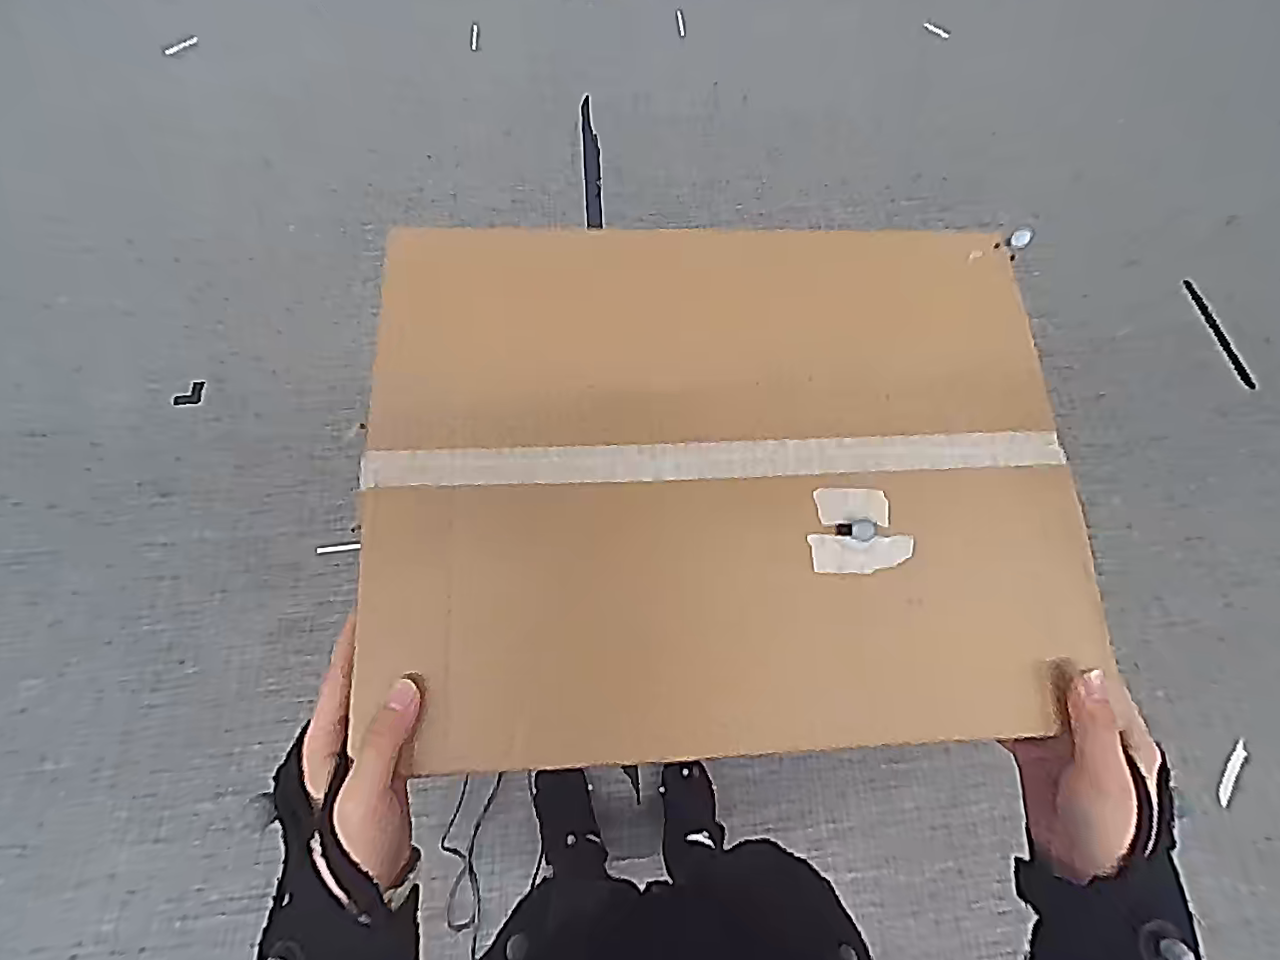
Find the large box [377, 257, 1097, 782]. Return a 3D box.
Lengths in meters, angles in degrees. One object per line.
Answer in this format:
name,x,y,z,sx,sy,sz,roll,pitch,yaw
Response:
large box,0.041,0.037,0.470,0.408,0.320,0.320,-2,75,-5
